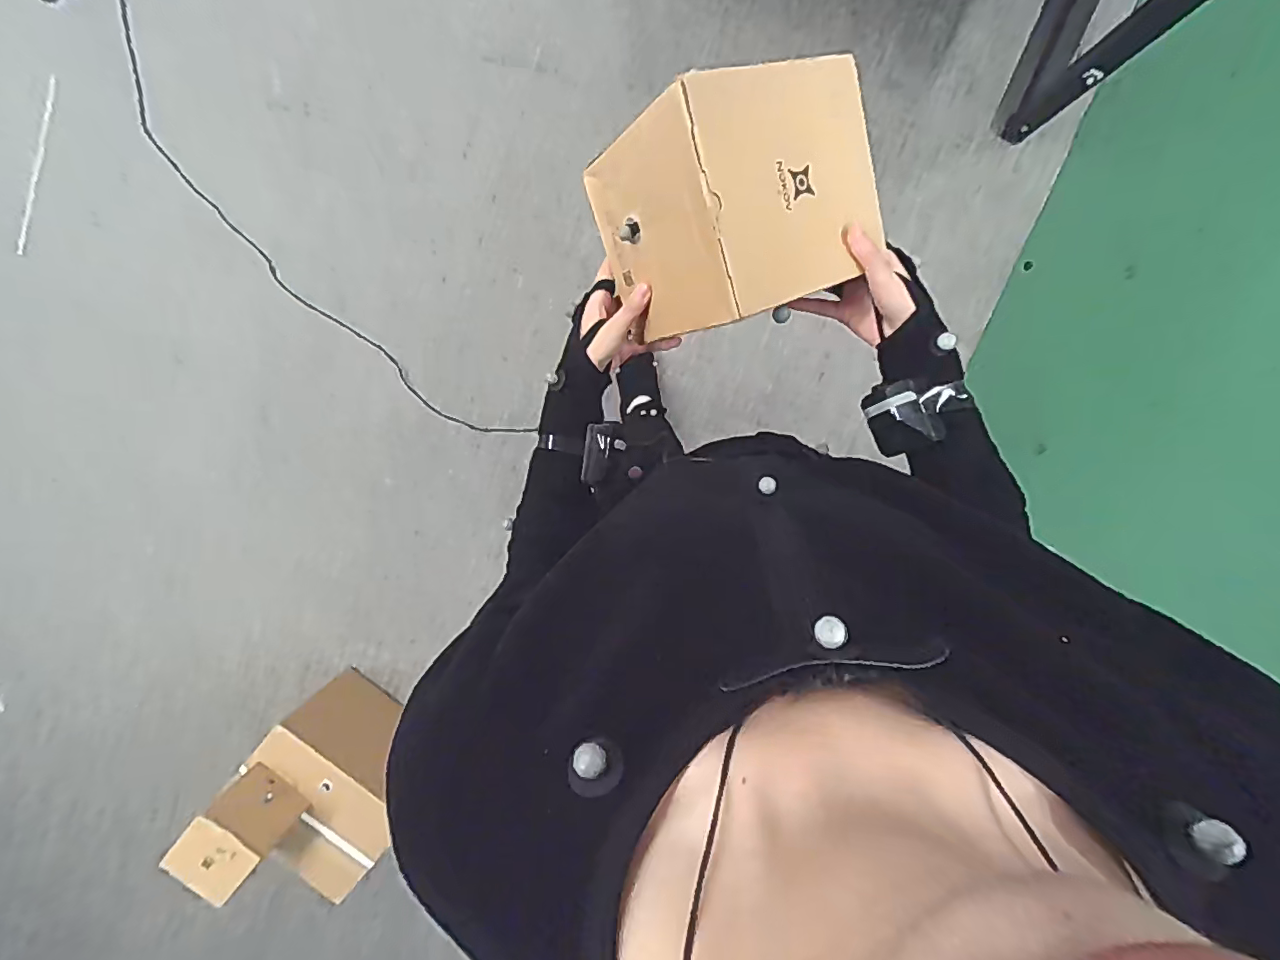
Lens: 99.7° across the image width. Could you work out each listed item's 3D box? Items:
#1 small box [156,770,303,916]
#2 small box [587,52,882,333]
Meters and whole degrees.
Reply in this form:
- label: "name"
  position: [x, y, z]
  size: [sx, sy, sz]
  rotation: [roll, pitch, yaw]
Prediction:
- label: "small box"
  position: [-0.918, 0.813, 1.227]
  size: [0.168, 0.176, 0.179]
  rotation: [41, 98, -3]
- label: "small box"
  position: [0.079, -0.241, 0.484]
  size: [0.179, 0.176, 0.168]
  rotation: [-25, 108, -23]
